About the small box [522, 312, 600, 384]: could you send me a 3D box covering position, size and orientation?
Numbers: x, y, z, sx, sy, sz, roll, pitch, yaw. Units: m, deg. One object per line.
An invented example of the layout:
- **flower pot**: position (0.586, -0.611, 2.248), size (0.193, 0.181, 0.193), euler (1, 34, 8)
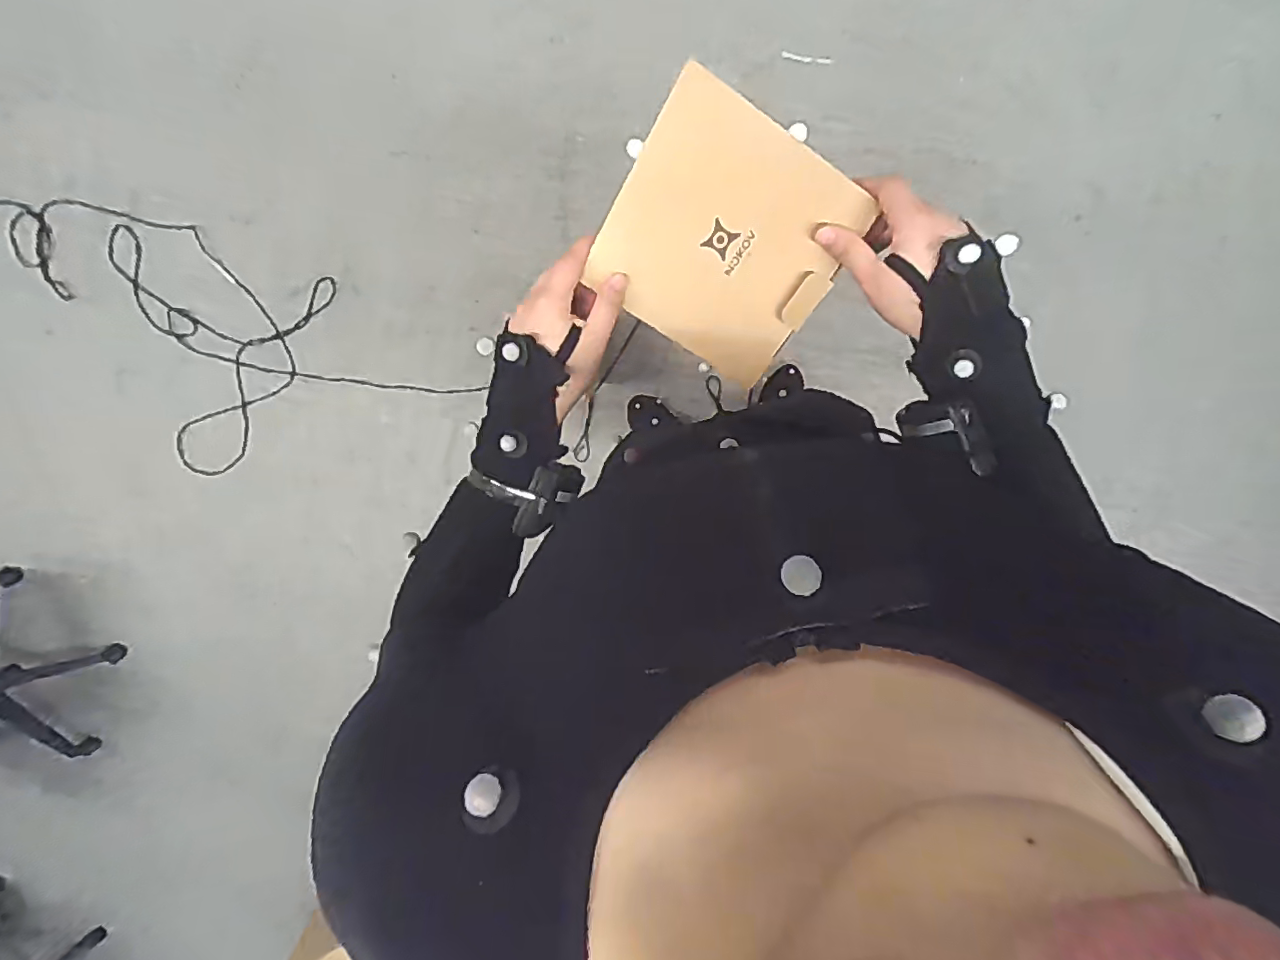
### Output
- **small box**: position (-0.191, -0.326, 1.344), size (0.179, 0.176, 0.168), euler (1, 102, 2)

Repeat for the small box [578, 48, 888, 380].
- **small box**: position (0.067, -0.220, 0.474), size (0.179, 0.176, 0.168), euler (29, 115, -14)

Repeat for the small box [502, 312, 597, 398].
- **small box**: position (-0.193, -0.272, 1.188), size (0.179, 0.176, 0.168), euler (4, 103, 0)
